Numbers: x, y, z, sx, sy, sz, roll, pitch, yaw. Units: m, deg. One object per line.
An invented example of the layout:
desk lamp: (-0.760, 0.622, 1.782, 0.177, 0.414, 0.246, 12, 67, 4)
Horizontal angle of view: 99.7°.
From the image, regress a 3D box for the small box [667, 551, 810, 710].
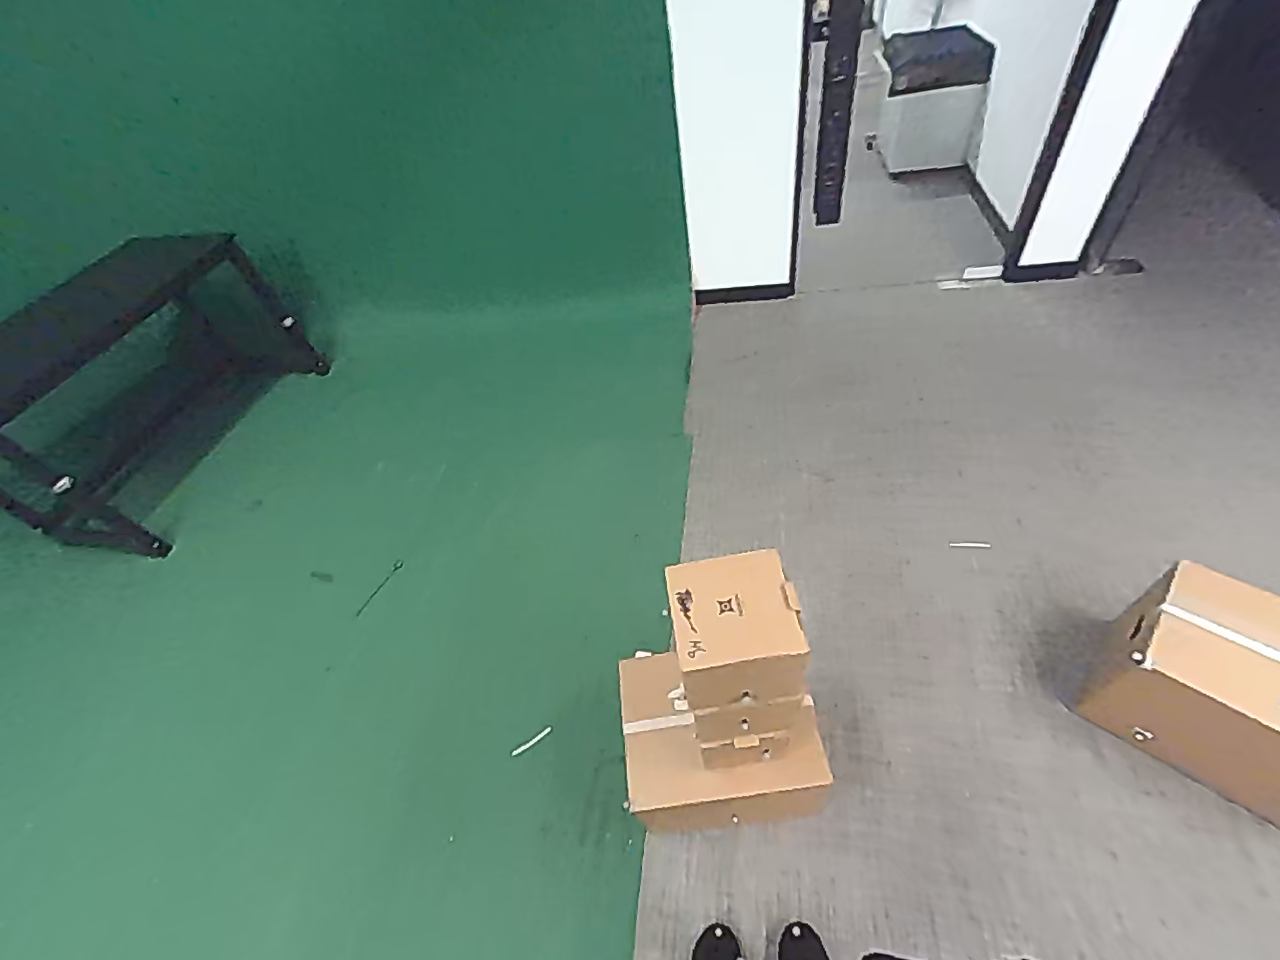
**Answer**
small box: (0.141, 0.232, 0.820, 0.179, 0.176, 0.168, -9, 48, 2)

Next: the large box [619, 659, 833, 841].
large box: (0.189, 0.608, 1.251, 0.408, 0.320, 0.320, -11, 47, 4)

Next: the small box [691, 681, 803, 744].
small box: (0.169, 0.341, 0.940, 0.179, 0.176, 0.168, -11, 48, 3)

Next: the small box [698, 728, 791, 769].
small box: (0.192, 0.450, 1.059, 0.168, 0.176, 0.179, -10, 48, 3)
